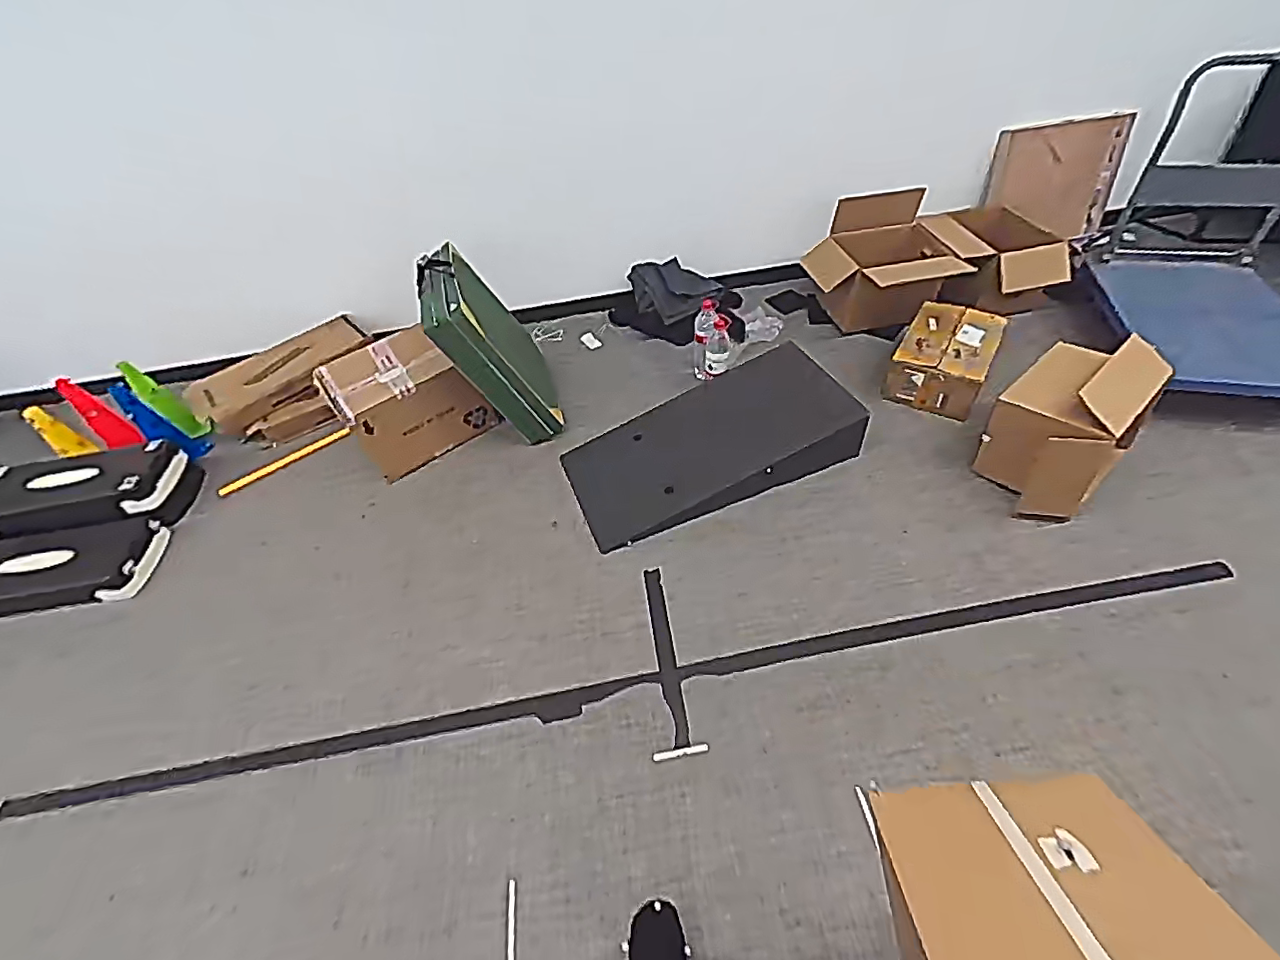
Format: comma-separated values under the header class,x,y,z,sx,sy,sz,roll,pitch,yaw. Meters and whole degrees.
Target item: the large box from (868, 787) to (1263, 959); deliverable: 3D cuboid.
class,x,y,z,sx,sy,sz,roll,pitch,yaw
large box,0.498,0.636,0.620,0.320,0.320,0.408,-9,4,9
